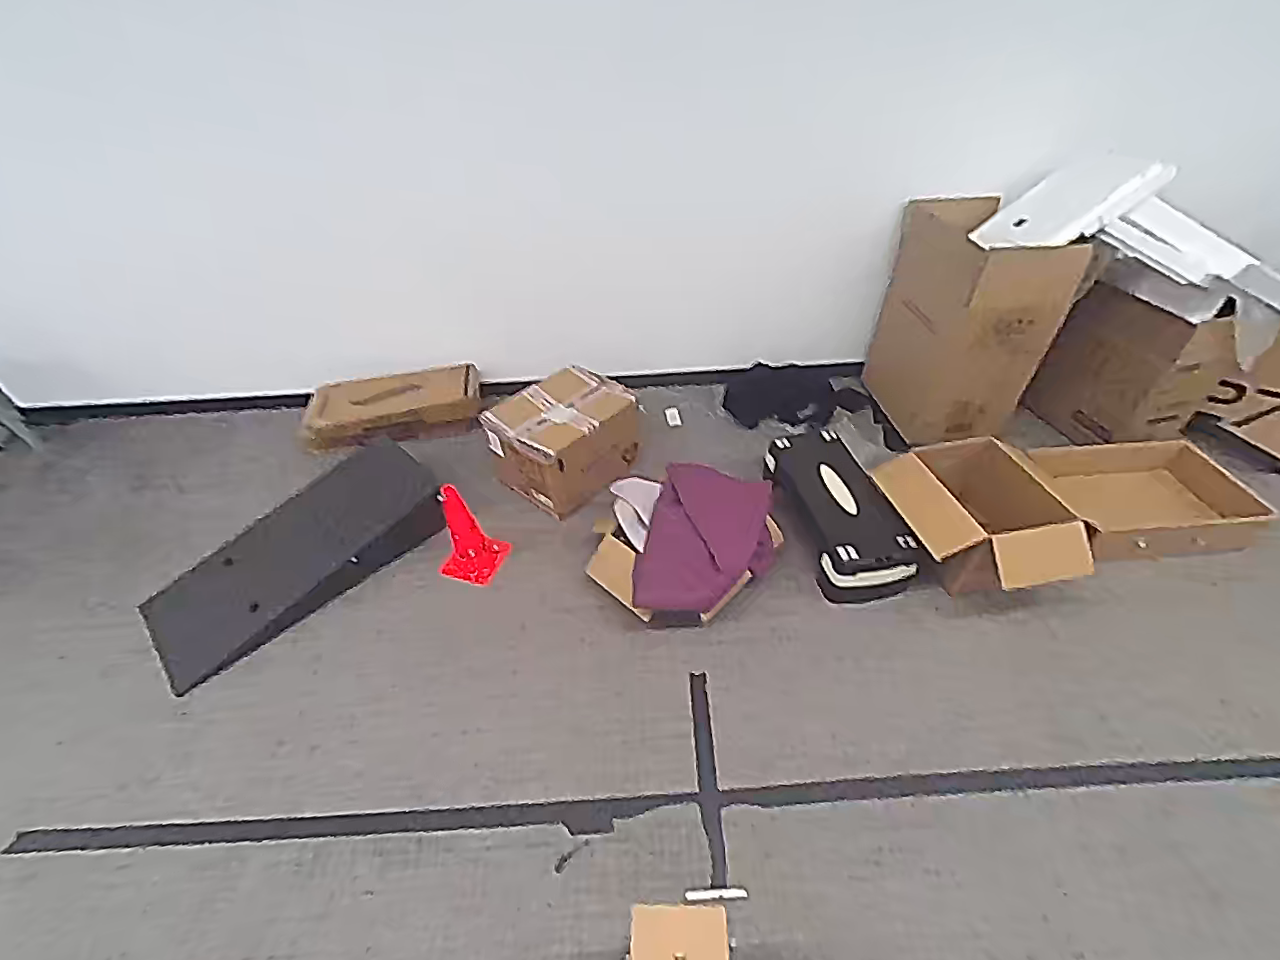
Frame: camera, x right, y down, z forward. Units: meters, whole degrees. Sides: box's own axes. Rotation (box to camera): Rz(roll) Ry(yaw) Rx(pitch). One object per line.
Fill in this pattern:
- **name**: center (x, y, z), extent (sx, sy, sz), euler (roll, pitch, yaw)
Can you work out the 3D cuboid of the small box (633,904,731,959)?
- **small box**: center (0.071, 0.862, 0.935), extent (0.168, 0.176, 0.179), euler (-1, 43, 3)
